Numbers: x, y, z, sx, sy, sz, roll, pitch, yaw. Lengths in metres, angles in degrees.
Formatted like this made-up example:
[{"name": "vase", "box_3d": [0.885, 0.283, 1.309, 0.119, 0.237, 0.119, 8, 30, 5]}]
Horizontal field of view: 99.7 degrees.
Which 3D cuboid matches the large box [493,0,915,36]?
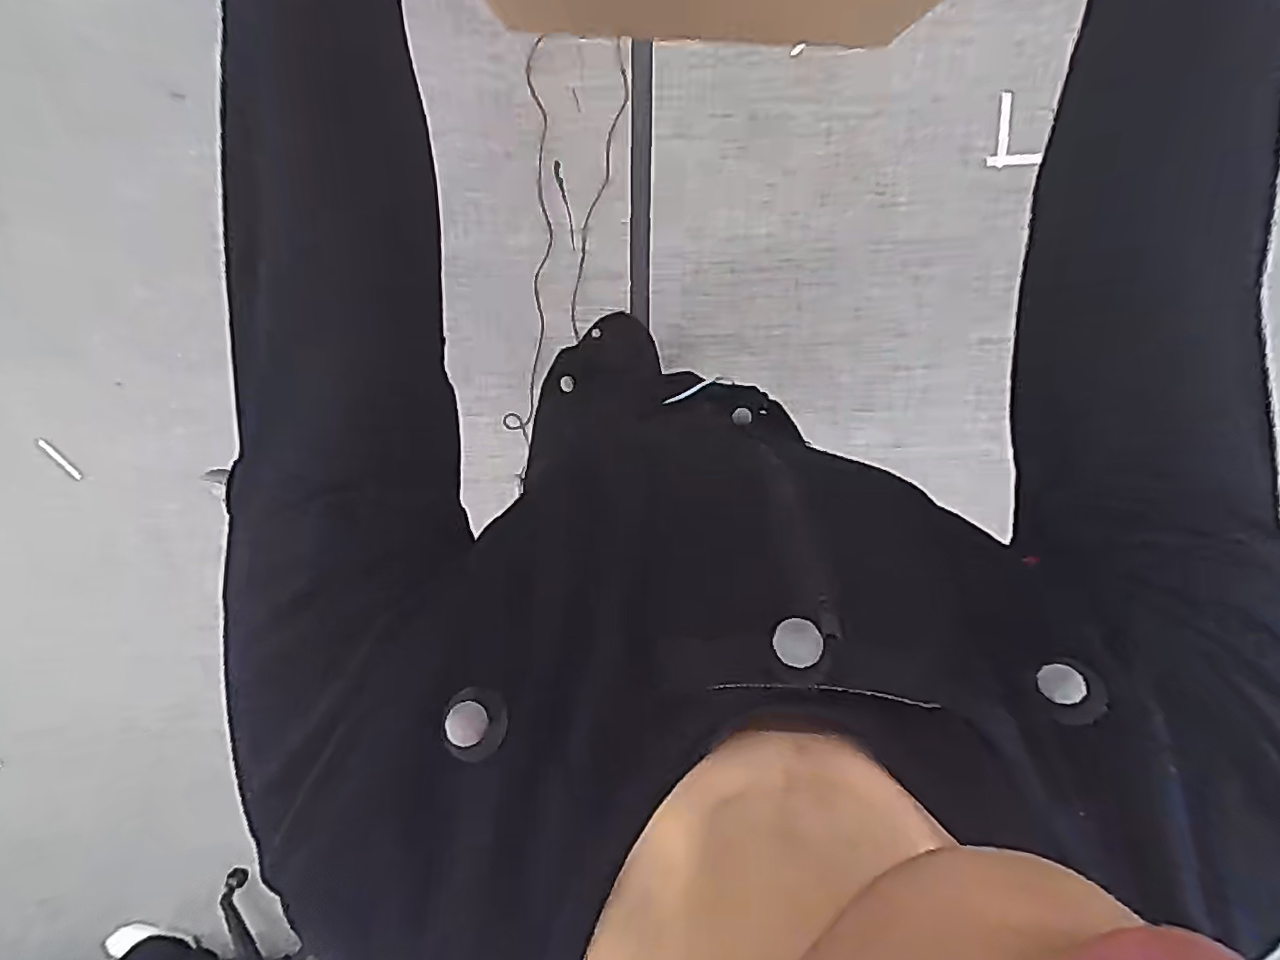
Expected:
[{"name": "large box", "box_3d": [0.058, -0.551, 0.379, 0.408, 0.320, 0.320, 2, 116, 0]}]
